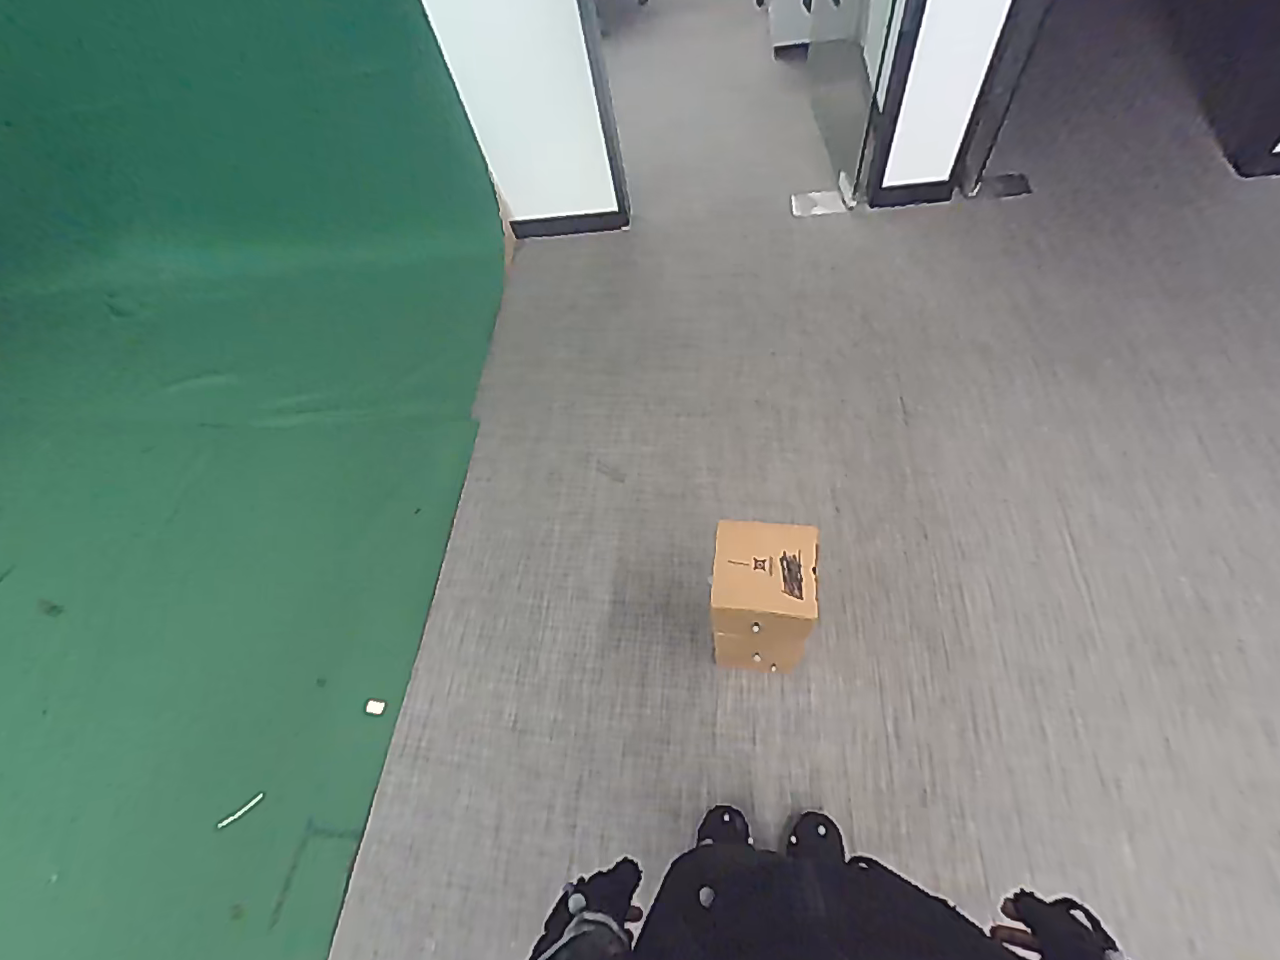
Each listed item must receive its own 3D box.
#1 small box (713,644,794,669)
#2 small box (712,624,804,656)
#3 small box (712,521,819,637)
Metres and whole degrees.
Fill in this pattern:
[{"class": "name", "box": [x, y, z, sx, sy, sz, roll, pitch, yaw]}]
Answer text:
[{"class": "small box", "box": [0.269, 0.348, 1.289, 0.179, 0.176, 0.168, 0, 60, 12]}, {"class": "small box", "box": [0.248, 0.270, 1.147, 0.179, 0.176, 0.168, 3, 61, 11]}, {"class": "small box", "box": [0.225, 0.188, 1.006, 0.179, 0.176, 0.168, 2, 61, 9]}]
